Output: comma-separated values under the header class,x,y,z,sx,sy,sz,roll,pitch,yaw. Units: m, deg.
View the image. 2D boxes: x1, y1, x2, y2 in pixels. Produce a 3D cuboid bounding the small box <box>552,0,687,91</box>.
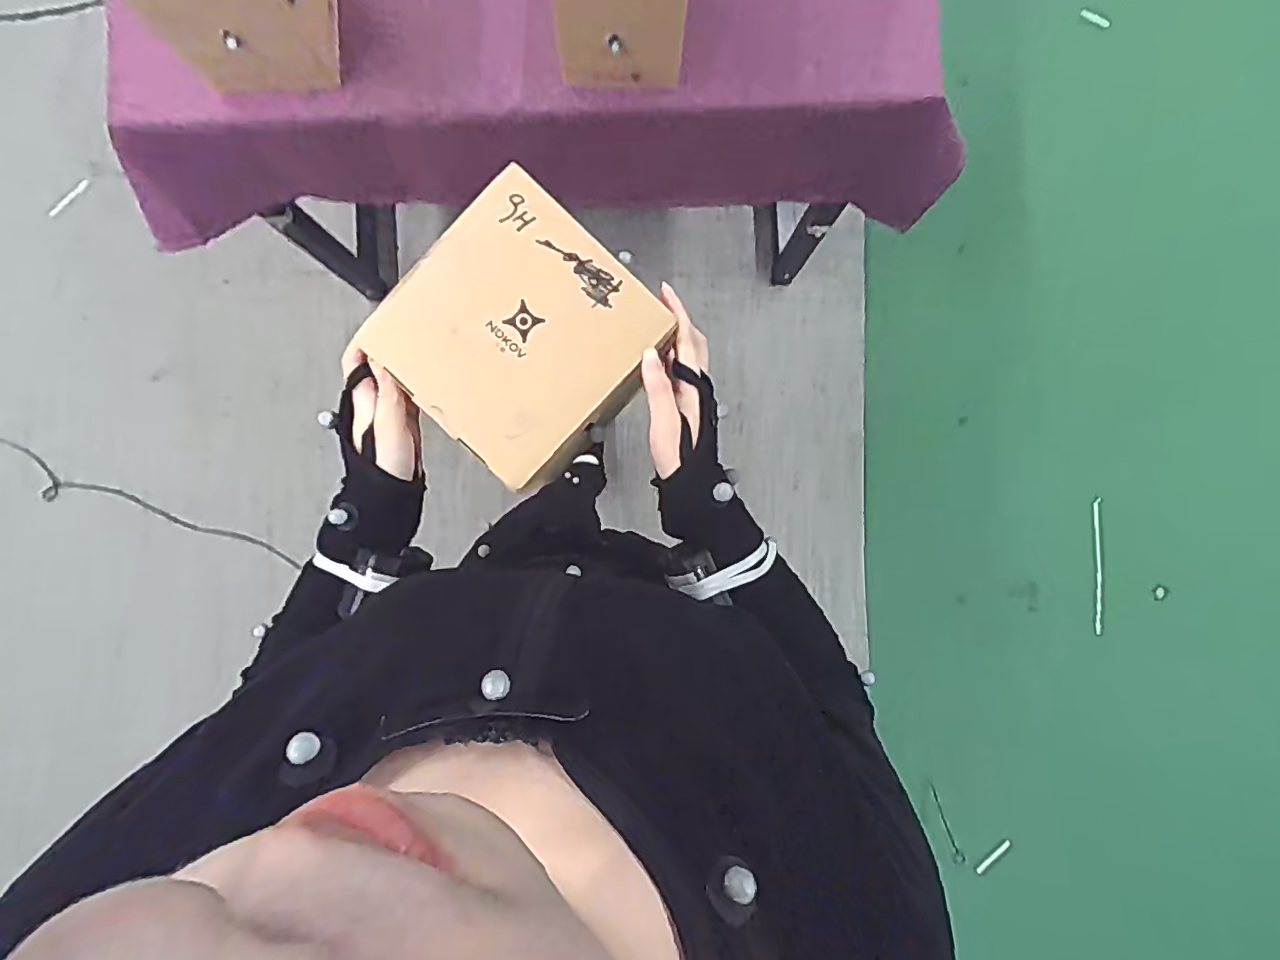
class,x,y,z,sx,sy,sz,roll,pitch,yaw
small box,-0.023,-0.653,0.710,0.168,0.176,0.179,1,87,-2
